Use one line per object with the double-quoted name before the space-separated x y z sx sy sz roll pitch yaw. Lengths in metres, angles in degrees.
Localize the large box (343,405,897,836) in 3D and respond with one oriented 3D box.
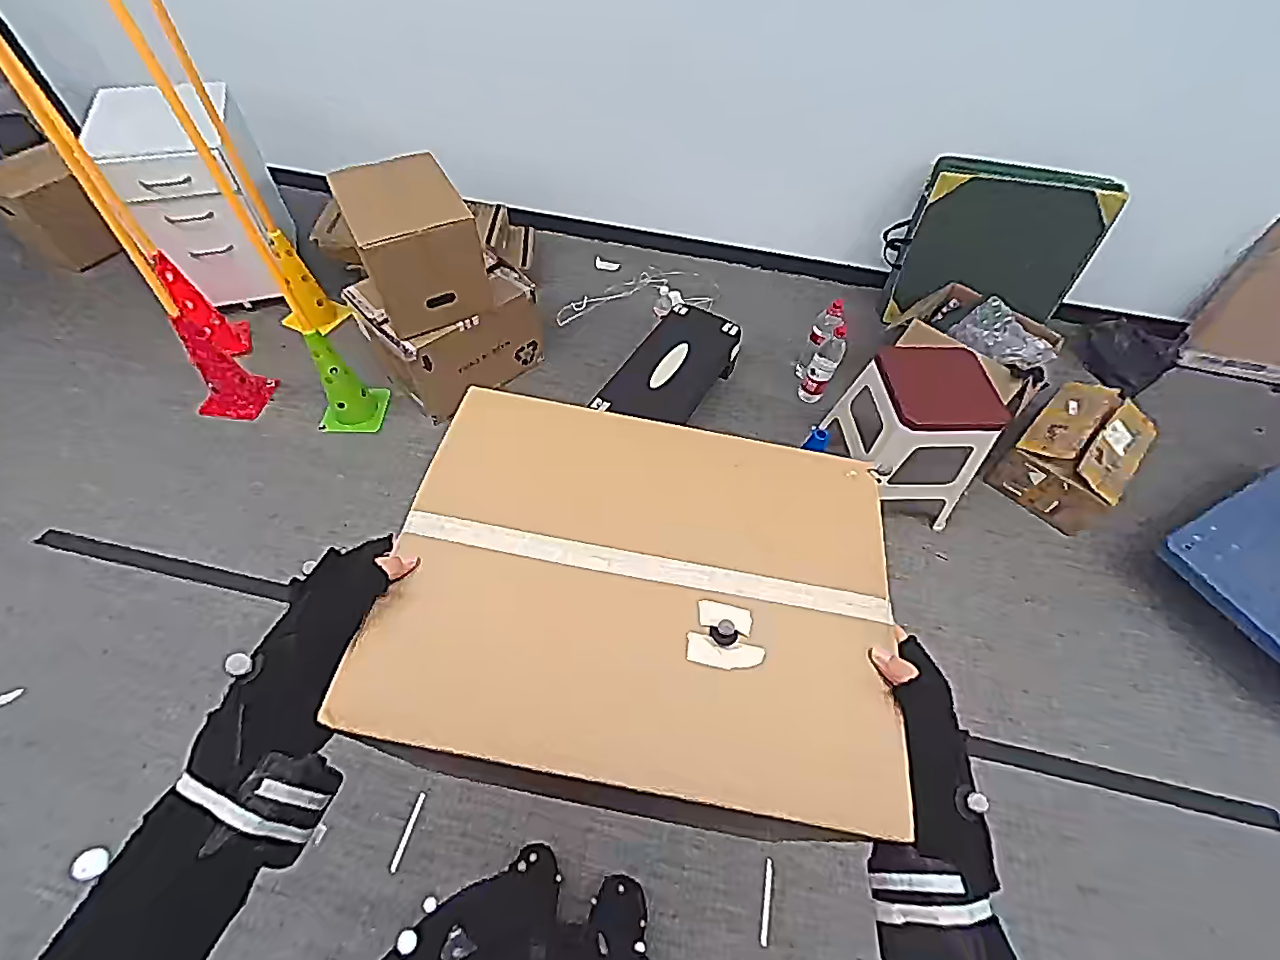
"large box" -0.009 0.164 0.581 0.408 0.320 0.320 11 56 1
